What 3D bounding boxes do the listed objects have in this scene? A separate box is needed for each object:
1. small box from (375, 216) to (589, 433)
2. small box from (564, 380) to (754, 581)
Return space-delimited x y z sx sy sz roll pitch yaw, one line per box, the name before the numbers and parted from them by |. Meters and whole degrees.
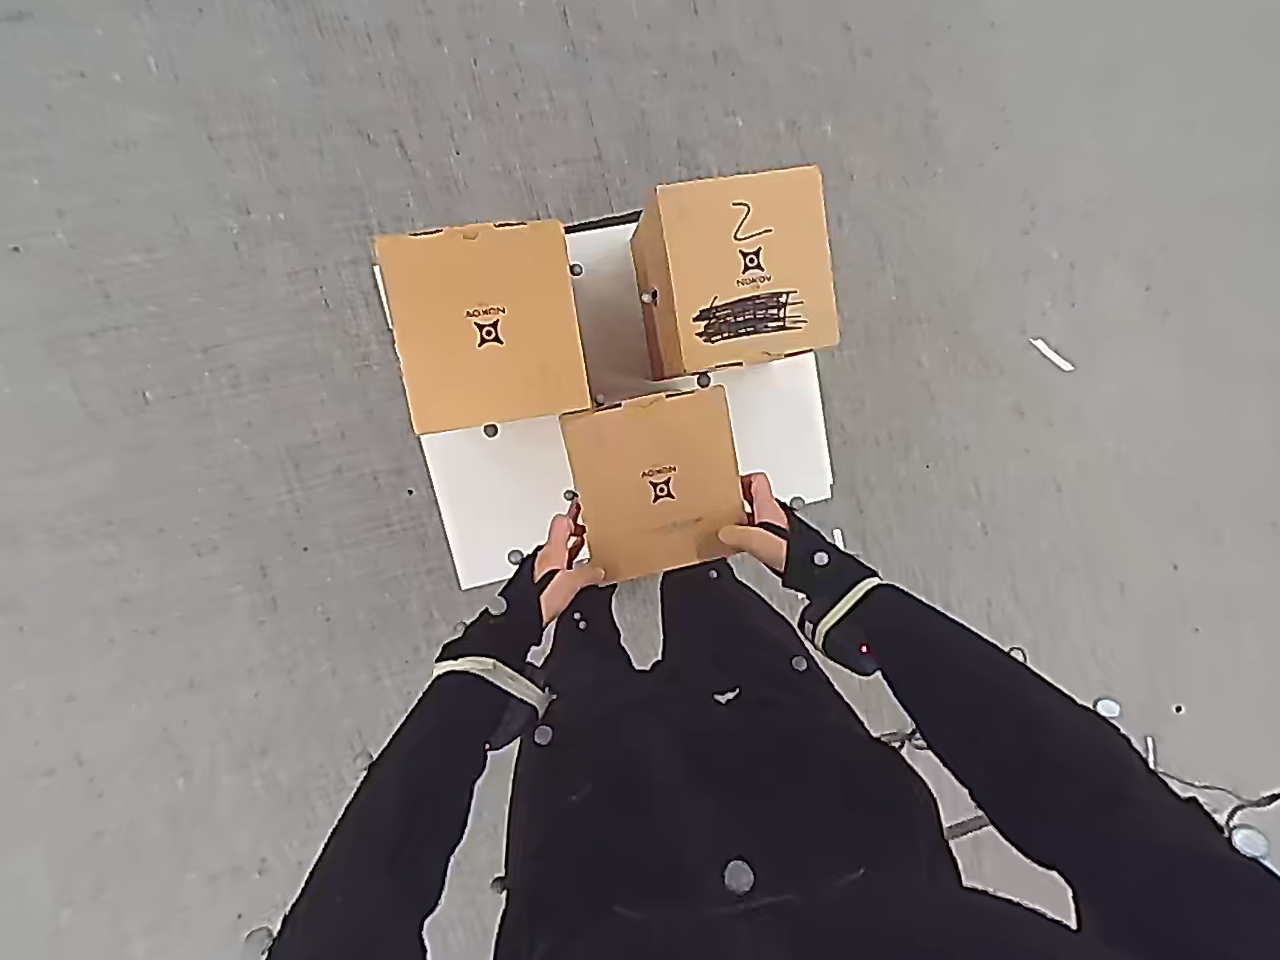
small box | -0.150 -0.152 0.567 0.168 0.176 0.179 -10 99 -9
small box | 0.011 -0.008 0.614 0.168 0.176 0.179 -13 99 -7
